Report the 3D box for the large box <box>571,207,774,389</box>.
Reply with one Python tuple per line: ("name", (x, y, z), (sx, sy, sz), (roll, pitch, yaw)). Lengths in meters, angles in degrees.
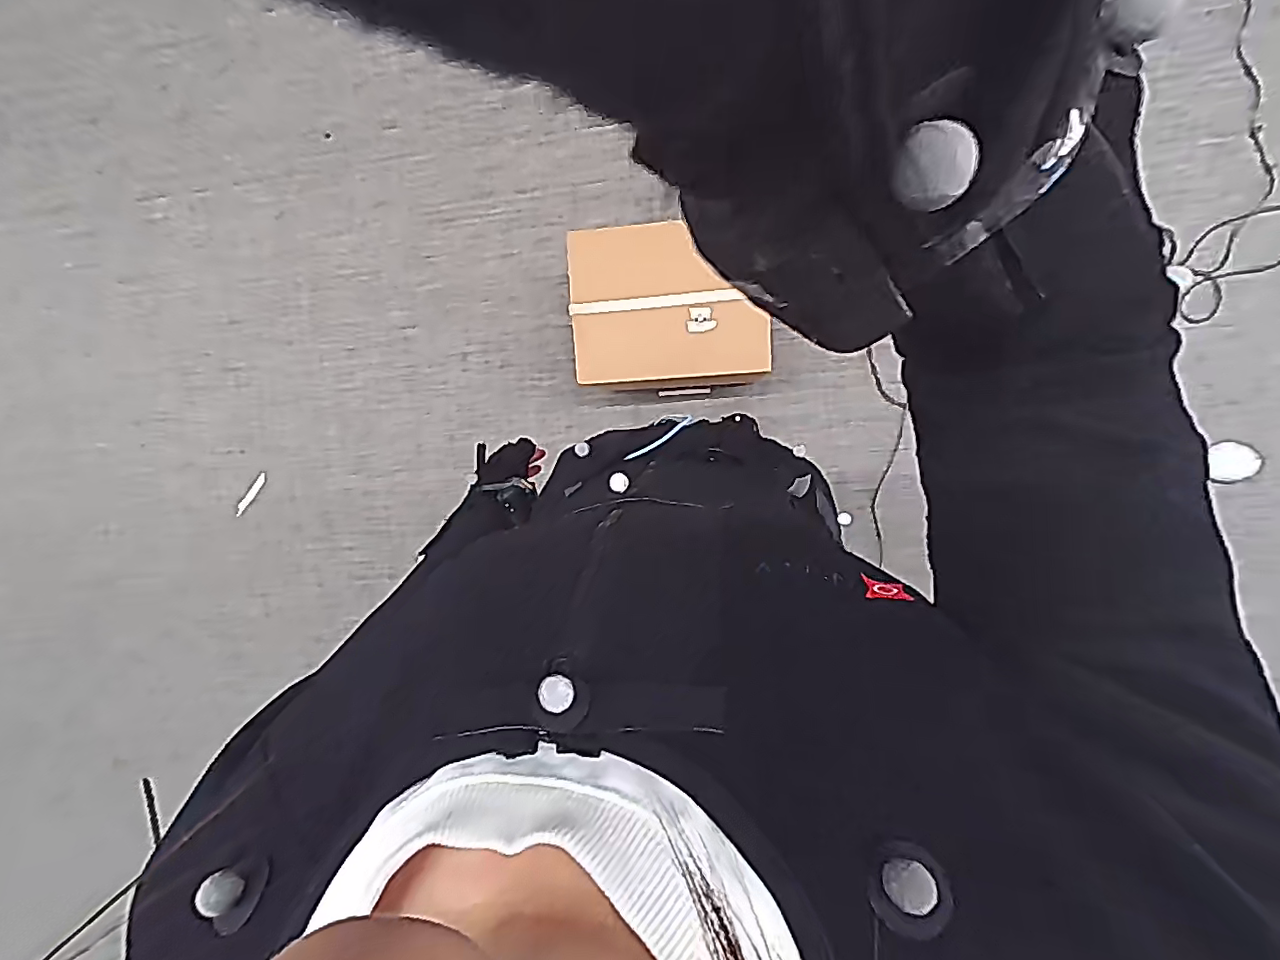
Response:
("large box", (0.080, -0.389, 1.249), (0.408, 0.320, 0.320), (-3, 97, 7))
